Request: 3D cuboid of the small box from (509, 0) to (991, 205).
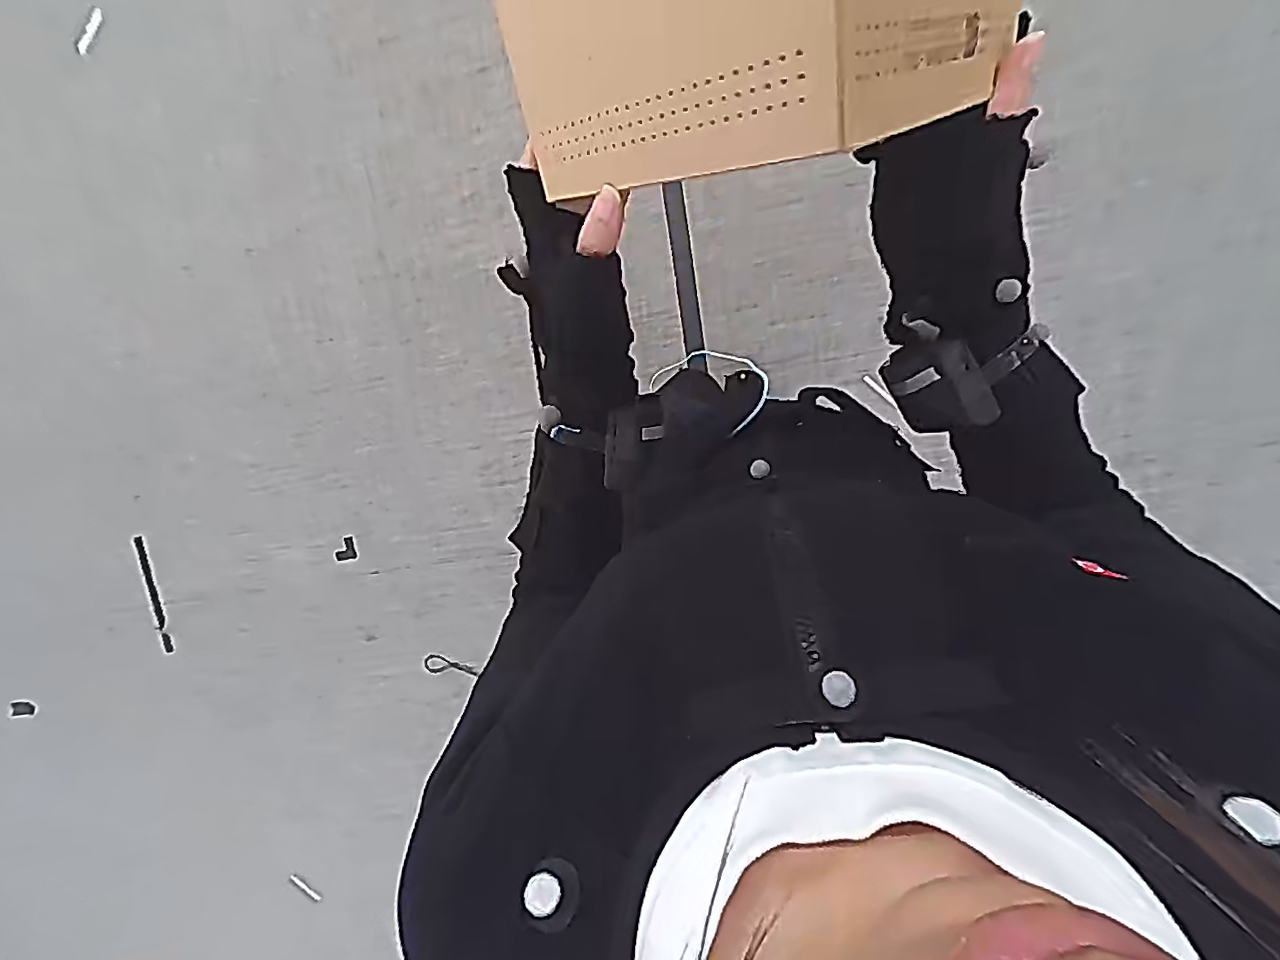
[{"bbox_3d":[0.051,-0.245,0.257,0.179,0.168,0.176,19,133,43],"label":"small box"}]
